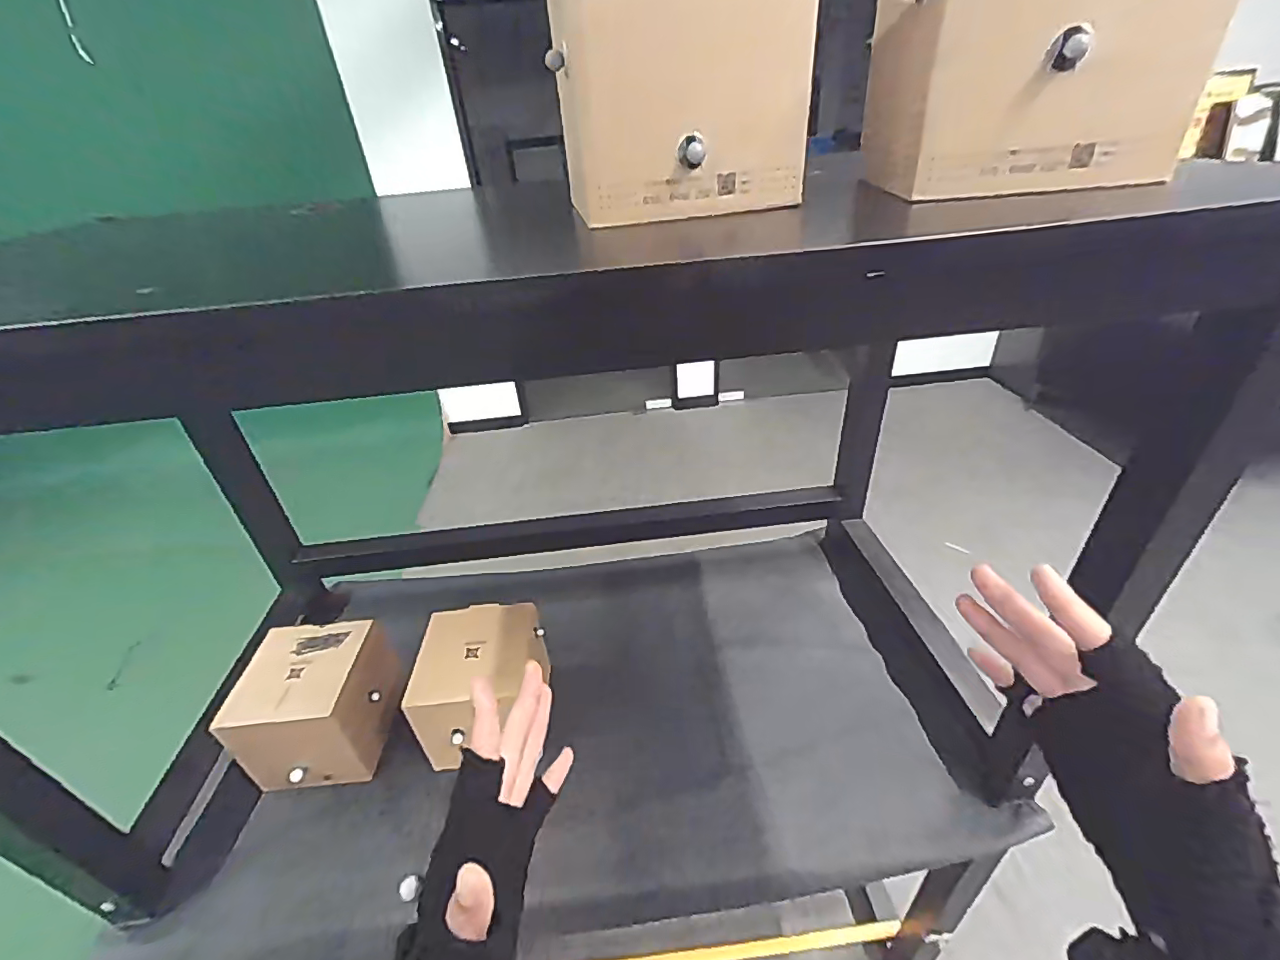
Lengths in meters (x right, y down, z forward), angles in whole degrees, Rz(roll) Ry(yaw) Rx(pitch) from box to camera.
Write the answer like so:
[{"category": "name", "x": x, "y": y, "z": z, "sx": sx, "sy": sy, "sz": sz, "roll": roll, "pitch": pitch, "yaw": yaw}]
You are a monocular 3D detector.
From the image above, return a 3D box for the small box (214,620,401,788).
[{"category": "small box", "x": -0.495, "y": 0.345, "z": 0.843, "sx": 0.168, "sy": 0.176, "sz": 0.179, "roll": -5, "pitch": 34, "yaw": -1}]

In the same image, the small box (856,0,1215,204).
[{"category": "small box", "x": 0.272, "y": -0.308, "z": 0.402, "sx": 0.168, "sy": 0.176, "sz": 0.179, "roll": 0, "pitch": 34, "yaw": 7}]

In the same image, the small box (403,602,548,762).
[{"category": "small box", "x": -0.244, "y": 0.321, "z": 0.852, "sx": 0.168, "sy": 0.176, "sz": 0.179, "roll": -6, "pitch": 33, "yaw": -1}]
